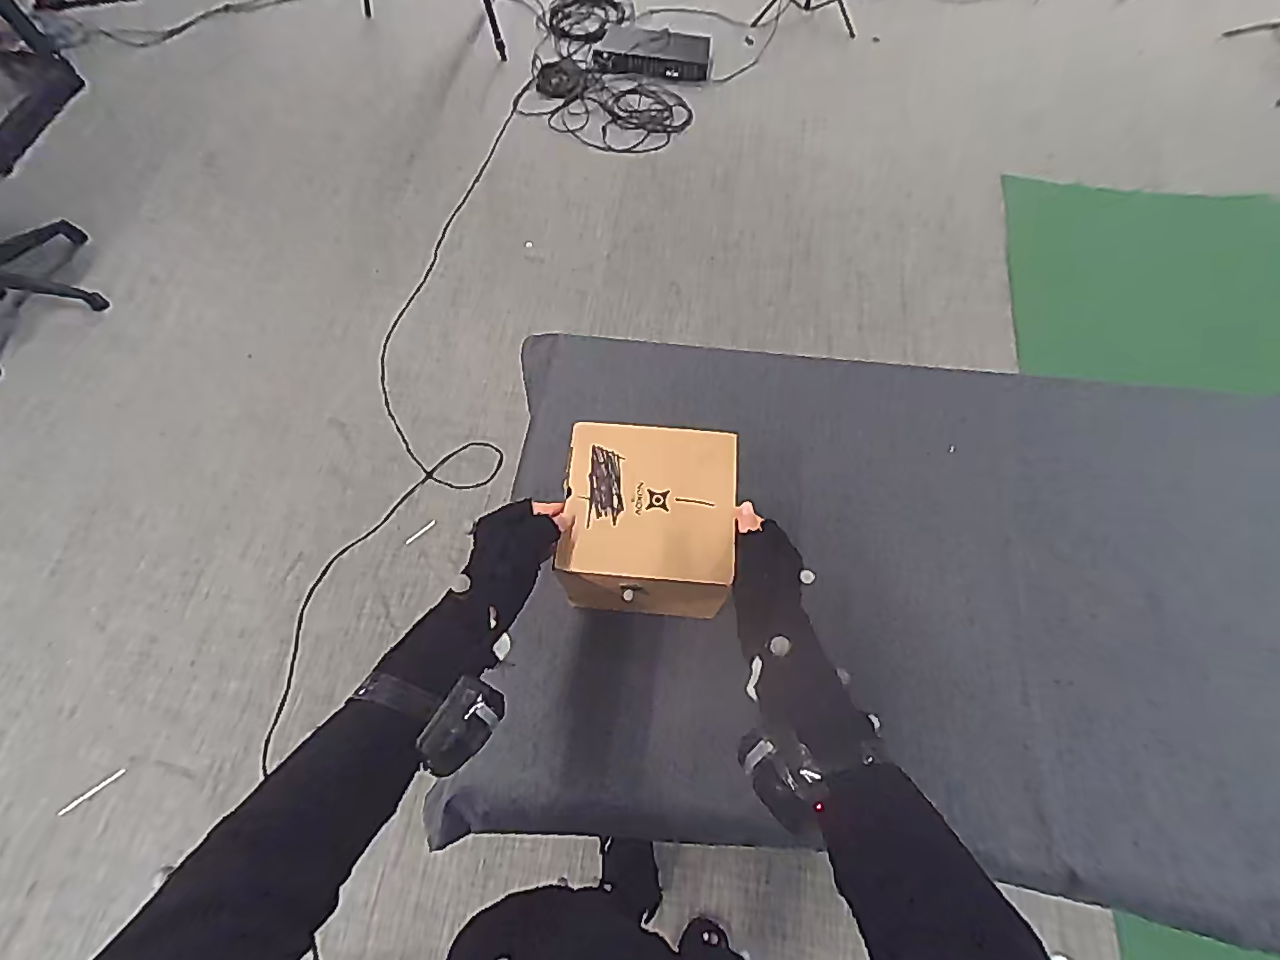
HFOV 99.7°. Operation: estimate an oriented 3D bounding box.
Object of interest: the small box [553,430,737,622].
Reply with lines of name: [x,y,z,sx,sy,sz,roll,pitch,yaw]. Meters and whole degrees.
small box: [0.010,0.060,0.615,0.179,0.176,0.168,5,65,2]
